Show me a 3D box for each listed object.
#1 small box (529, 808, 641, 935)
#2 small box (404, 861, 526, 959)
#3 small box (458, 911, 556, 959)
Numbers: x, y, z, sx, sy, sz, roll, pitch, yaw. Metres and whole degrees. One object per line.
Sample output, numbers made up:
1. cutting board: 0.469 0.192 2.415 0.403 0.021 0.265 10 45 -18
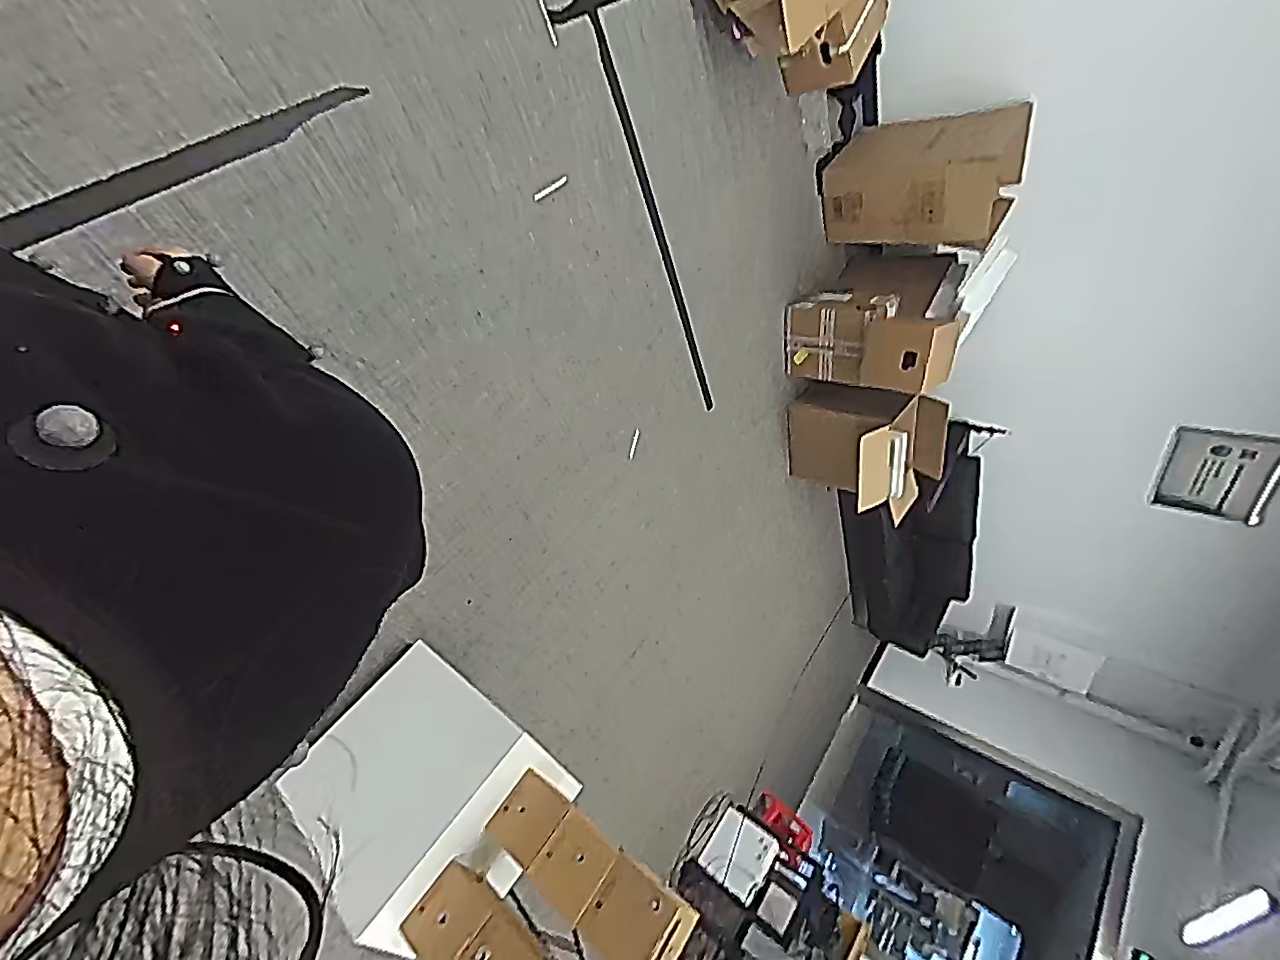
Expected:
1. small box: -0.130 0.918 1.279 0.168 0.176 0.179 -48 137 -26
2. small box: -0.407 1.030 1.253 0.168 0.176 0.179 -47 134 -28
3. small box: -0.283 1.076 1.158 0.168 0.176 0.179 -48 136 -29
